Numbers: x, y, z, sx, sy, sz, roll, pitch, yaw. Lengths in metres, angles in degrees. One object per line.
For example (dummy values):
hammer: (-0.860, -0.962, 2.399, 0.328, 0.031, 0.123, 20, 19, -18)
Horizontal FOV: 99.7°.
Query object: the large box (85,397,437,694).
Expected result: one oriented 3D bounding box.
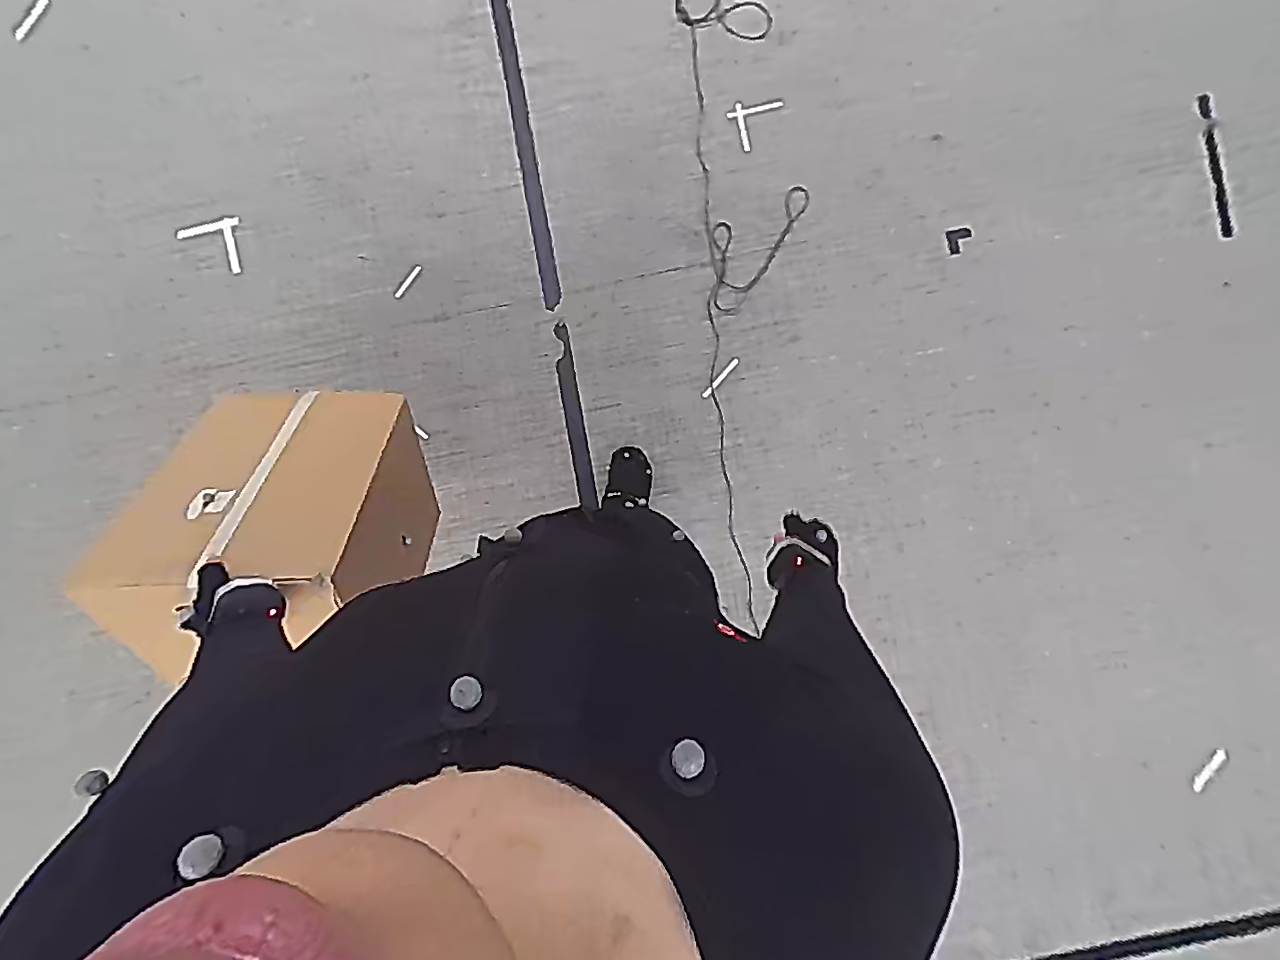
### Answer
large box: (-0.563, 0.099, 0.924, 0.320, 0.320, 0.408, -3, 44, -5)
